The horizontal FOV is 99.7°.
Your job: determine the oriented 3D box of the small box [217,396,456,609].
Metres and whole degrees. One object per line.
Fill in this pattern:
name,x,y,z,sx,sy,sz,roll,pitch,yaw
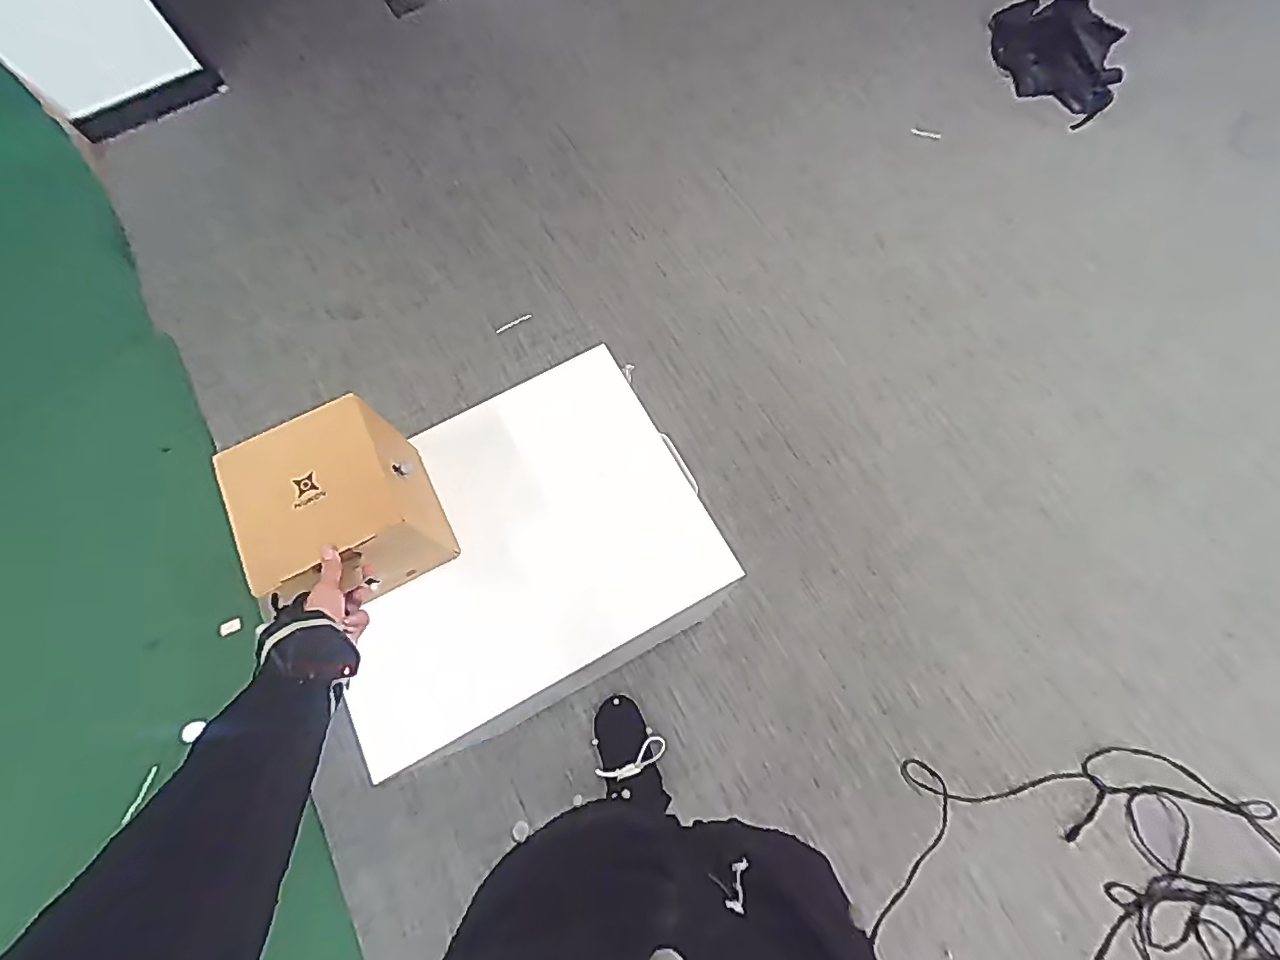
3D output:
small box,-0.349,0.036,0.649,0.168,0.176,0.179,-27,73,-8
